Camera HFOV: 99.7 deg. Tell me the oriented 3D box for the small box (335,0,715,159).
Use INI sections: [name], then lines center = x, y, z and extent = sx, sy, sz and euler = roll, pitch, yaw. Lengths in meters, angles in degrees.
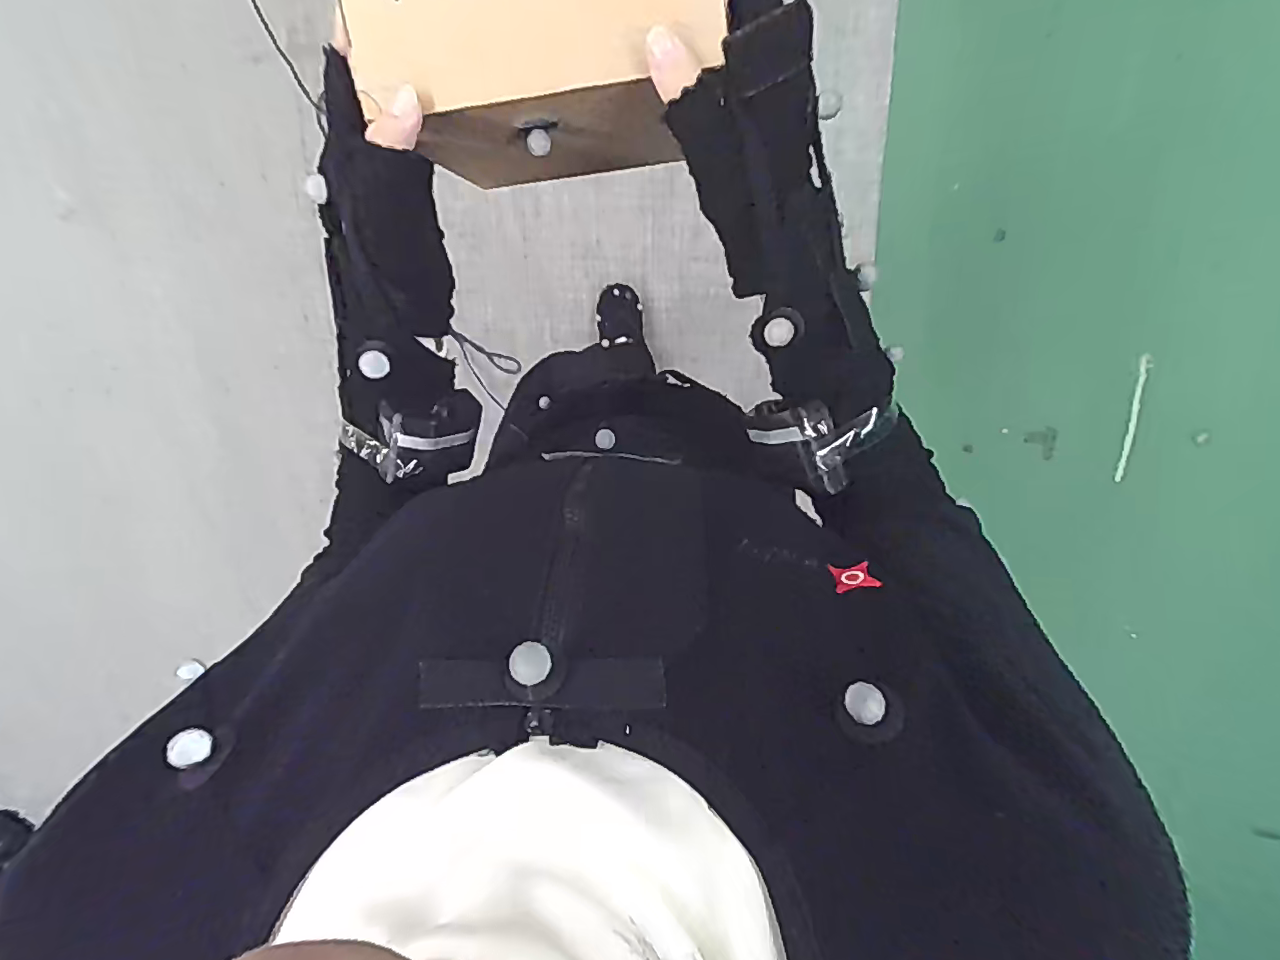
[small box]
center = -0.053, -0.297, 0.301
extent = 0.179, 0.176, 0.168
euler = -5, 109, 5
